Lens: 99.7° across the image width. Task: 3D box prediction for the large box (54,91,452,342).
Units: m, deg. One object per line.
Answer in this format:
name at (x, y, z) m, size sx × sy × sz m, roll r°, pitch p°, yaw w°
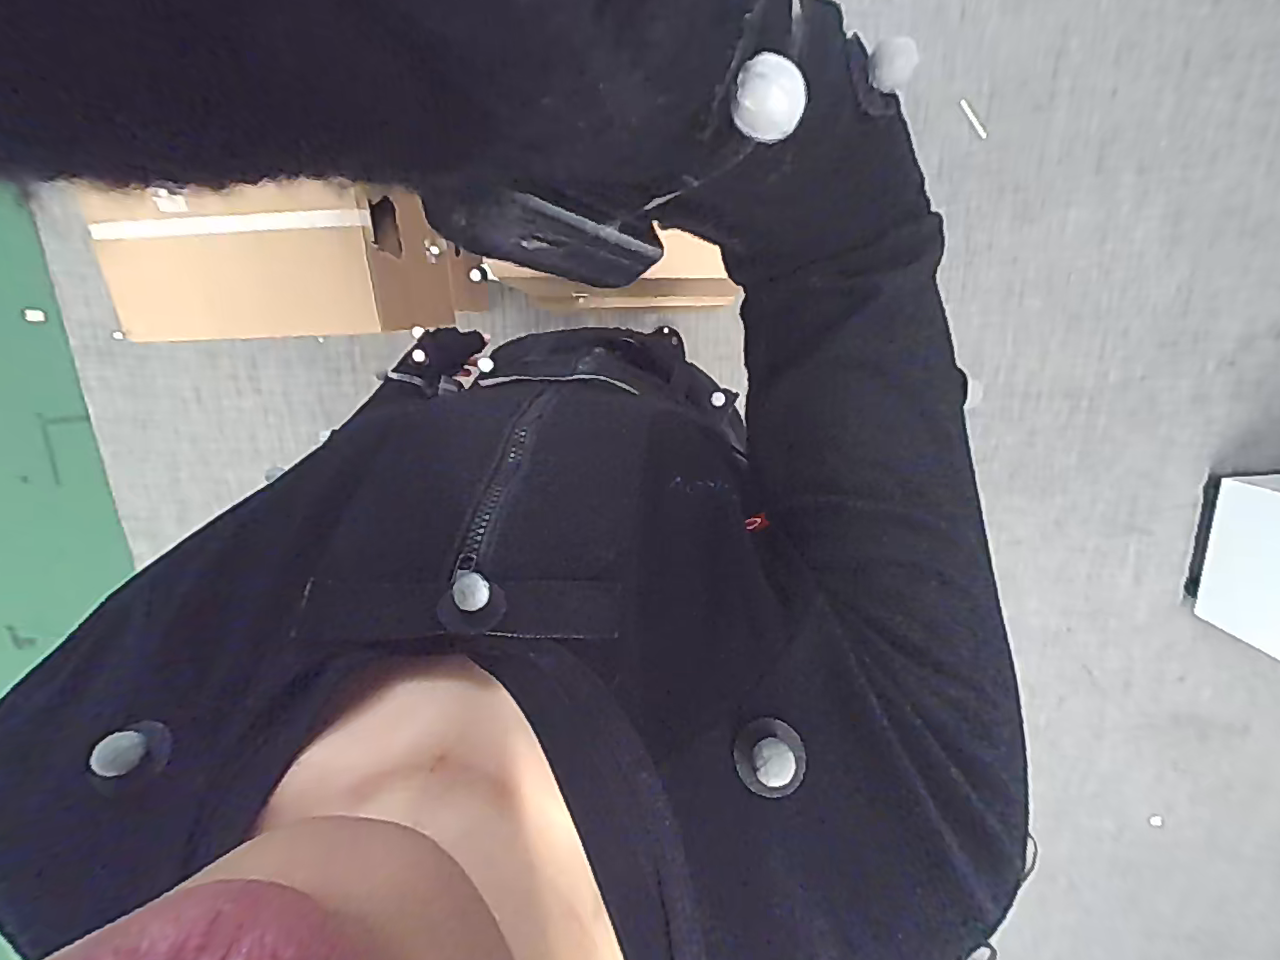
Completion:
large box at (-0.584, -0.410, 0.908) m, size 0.408 × 0.320 × 0.320 m, roll 0°, pitch 108°, yaw 4°
